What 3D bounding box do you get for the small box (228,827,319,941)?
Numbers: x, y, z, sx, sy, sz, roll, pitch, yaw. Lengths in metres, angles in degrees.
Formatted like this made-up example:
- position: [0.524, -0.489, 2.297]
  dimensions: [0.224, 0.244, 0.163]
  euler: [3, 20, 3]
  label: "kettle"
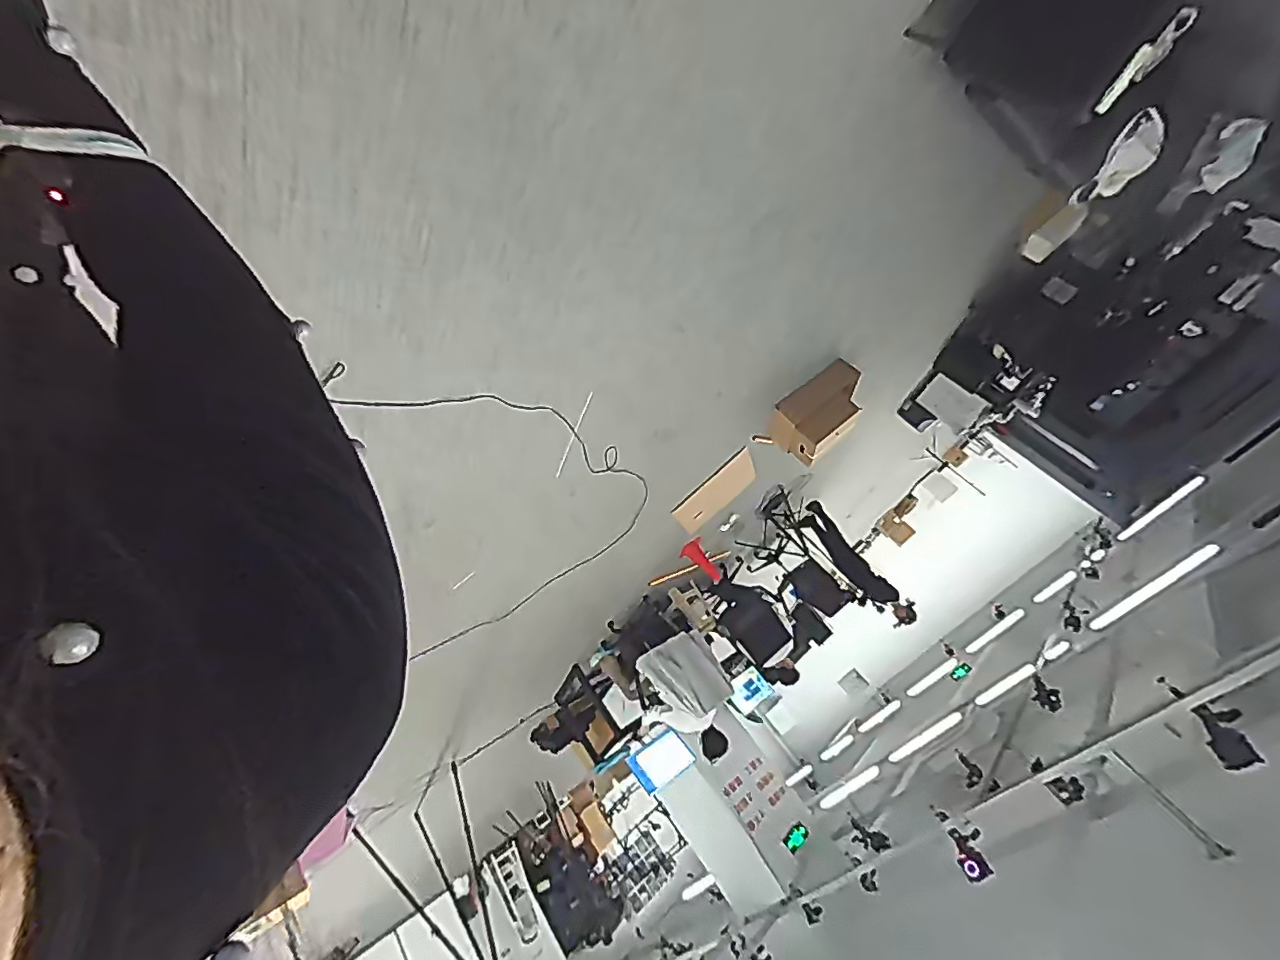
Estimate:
- position: [-1.017, 1.114, 1.499]
  dimensions: [0.179, 0.176, 0.168]
  euler: [-18, 146, -41]
  label: "small box"
